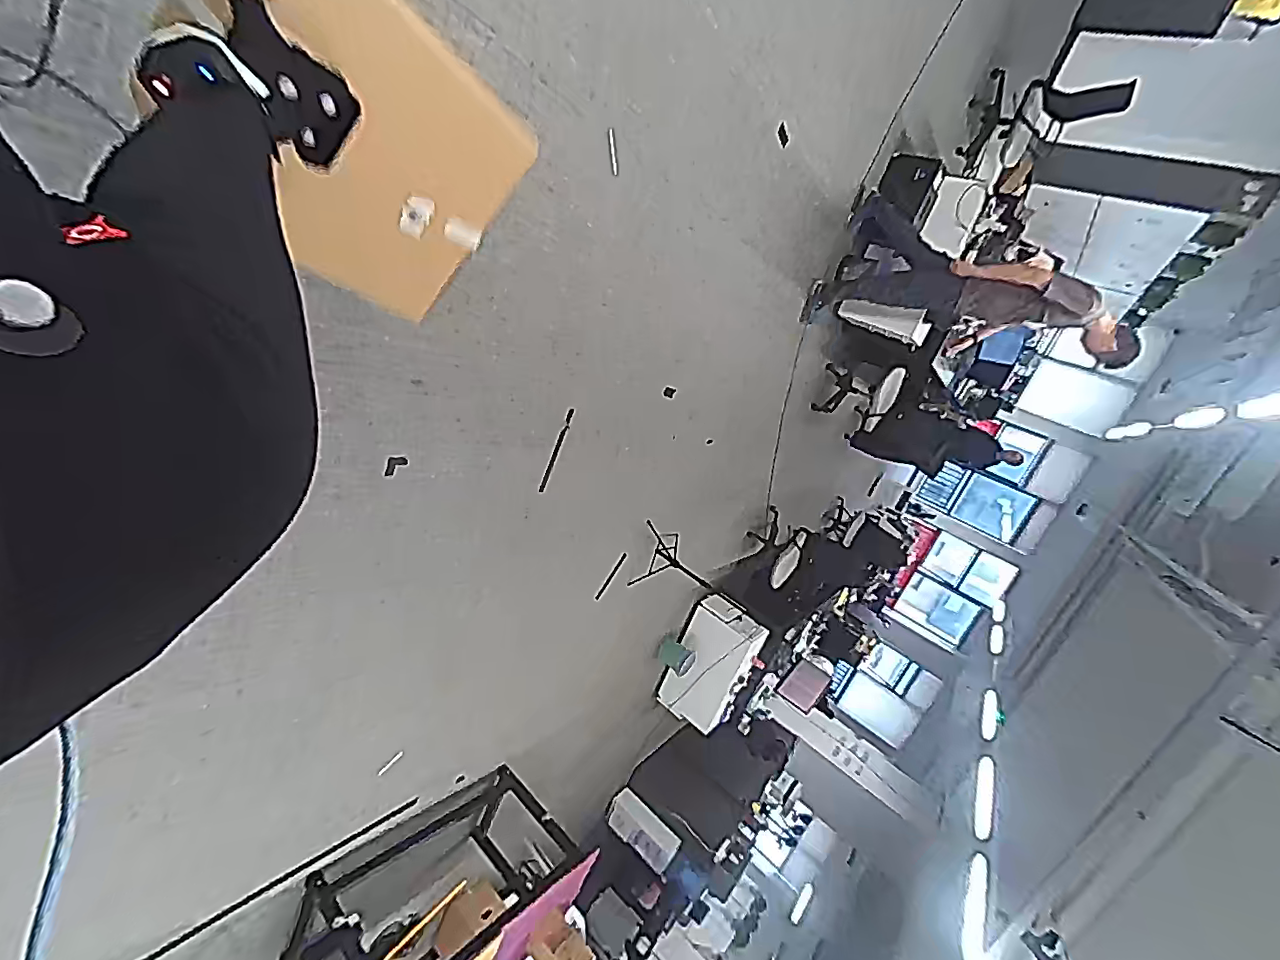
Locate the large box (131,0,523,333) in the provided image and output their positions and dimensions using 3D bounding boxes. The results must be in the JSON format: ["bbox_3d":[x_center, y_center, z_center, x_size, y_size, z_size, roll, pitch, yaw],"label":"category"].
[{"bbox_3d":[-0.443,-0.482,0.768,0.320,0.408,0.320,-48,147,9],"label":"large box"}]
